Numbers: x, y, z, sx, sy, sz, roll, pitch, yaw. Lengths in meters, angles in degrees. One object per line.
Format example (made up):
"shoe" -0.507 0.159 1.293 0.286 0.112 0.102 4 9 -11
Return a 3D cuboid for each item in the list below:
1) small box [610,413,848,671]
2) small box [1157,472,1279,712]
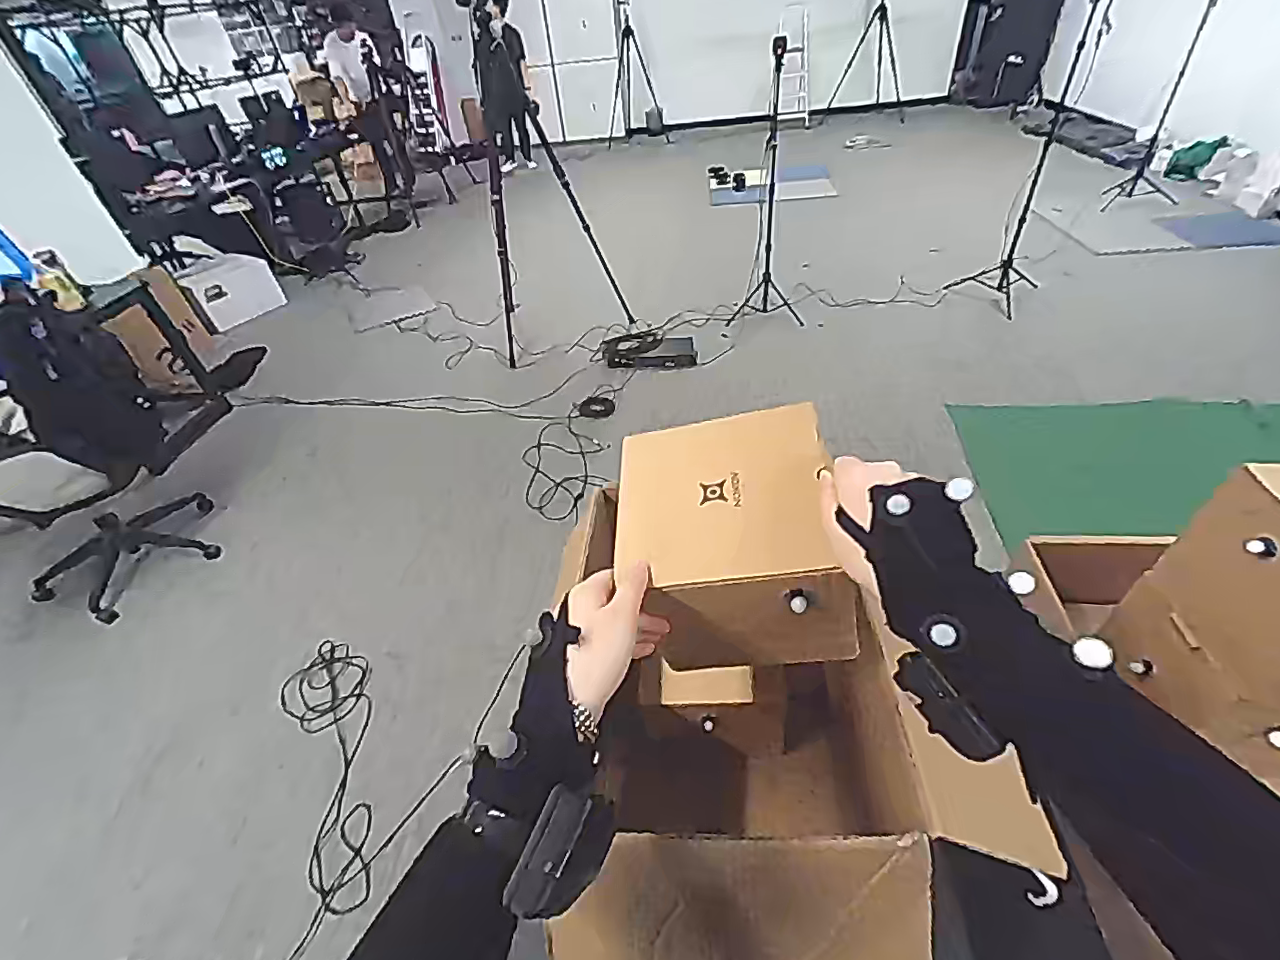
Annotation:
"small box" 0.086 0.066 0.503 0.179 0.176 0.168 -10 49 14
"small box" 0.679 0.111 0.529 0.168 0.176 0.179 0 44 9
